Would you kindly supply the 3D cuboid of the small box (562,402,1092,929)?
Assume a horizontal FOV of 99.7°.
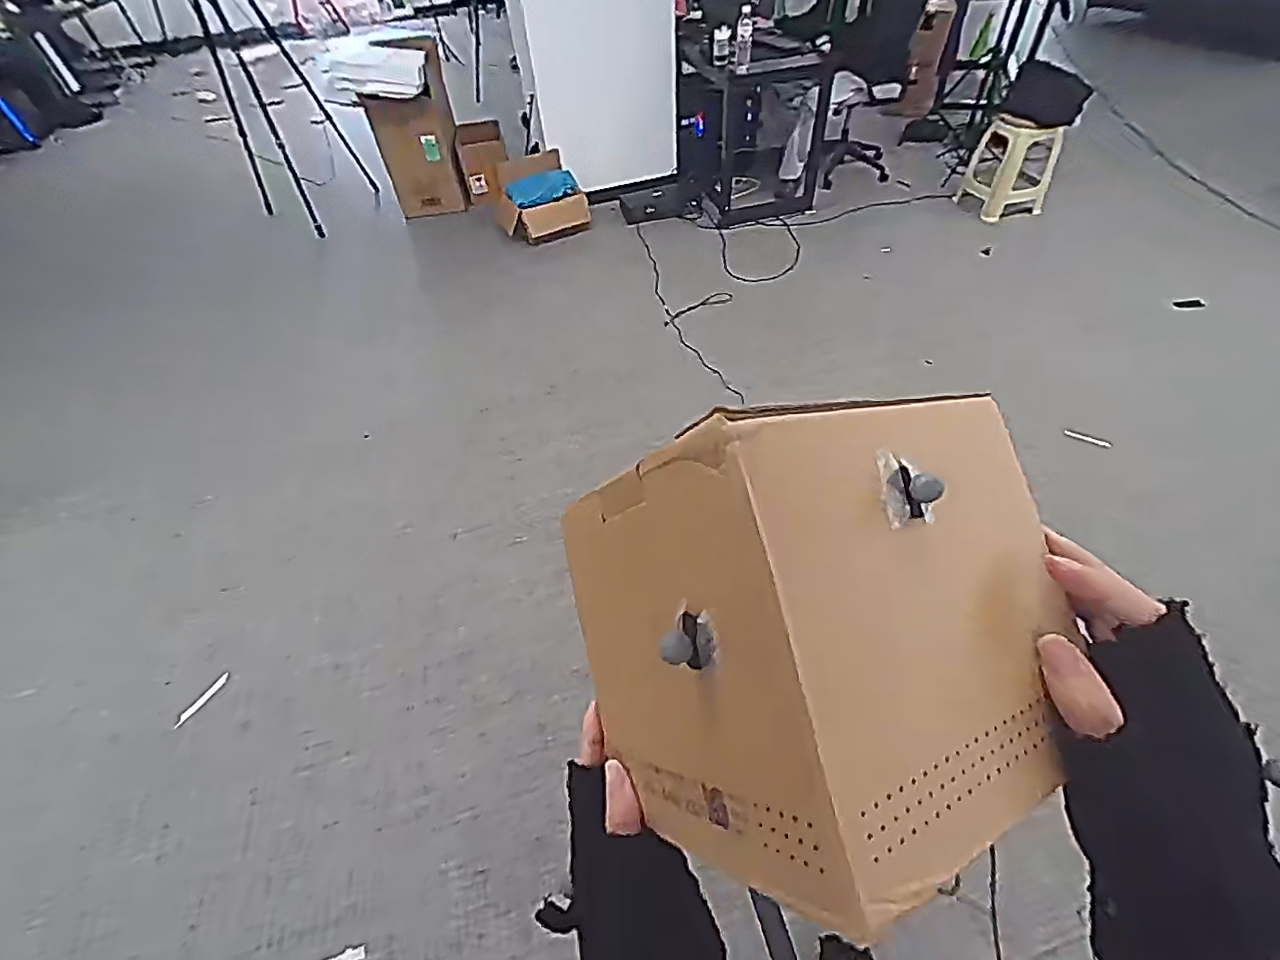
[{"bbox_3d":[0.082,0.074,0.279,0.179,0.168,0.176,-8,79,-30],"label":"small box"}]
